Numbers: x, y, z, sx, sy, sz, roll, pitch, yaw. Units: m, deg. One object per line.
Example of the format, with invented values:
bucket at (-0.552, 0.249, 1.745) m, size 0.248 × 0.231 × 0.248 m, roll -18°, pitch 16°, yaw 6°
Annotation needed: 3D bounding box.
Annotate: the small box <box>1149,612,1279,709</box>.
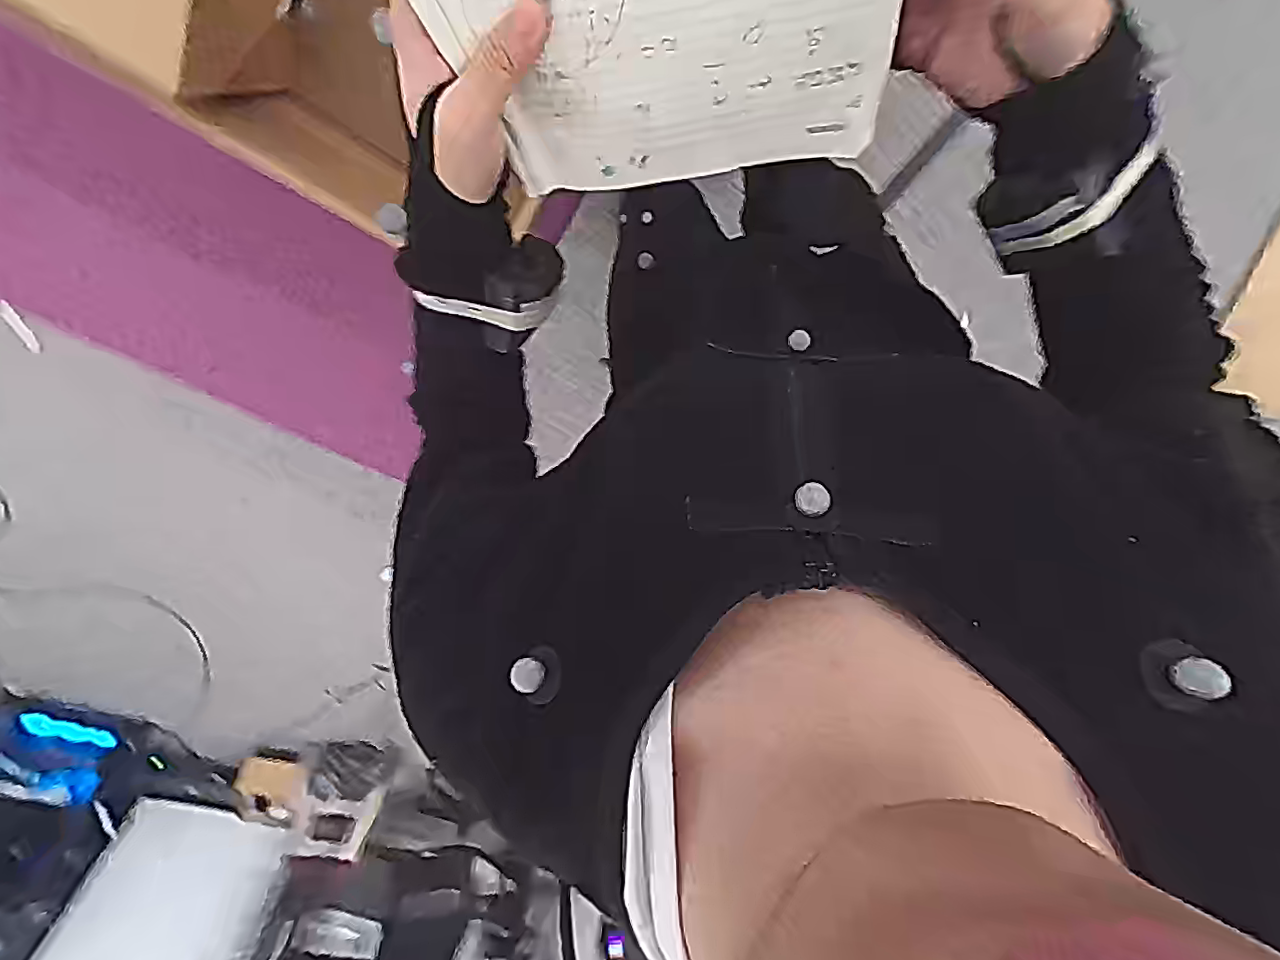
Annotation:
small box at (1.569, 0.488, 1.482) m, size 0.179 × 0.176 × 0.168 m, roll 31°, pitch 121°, yaw -22°
